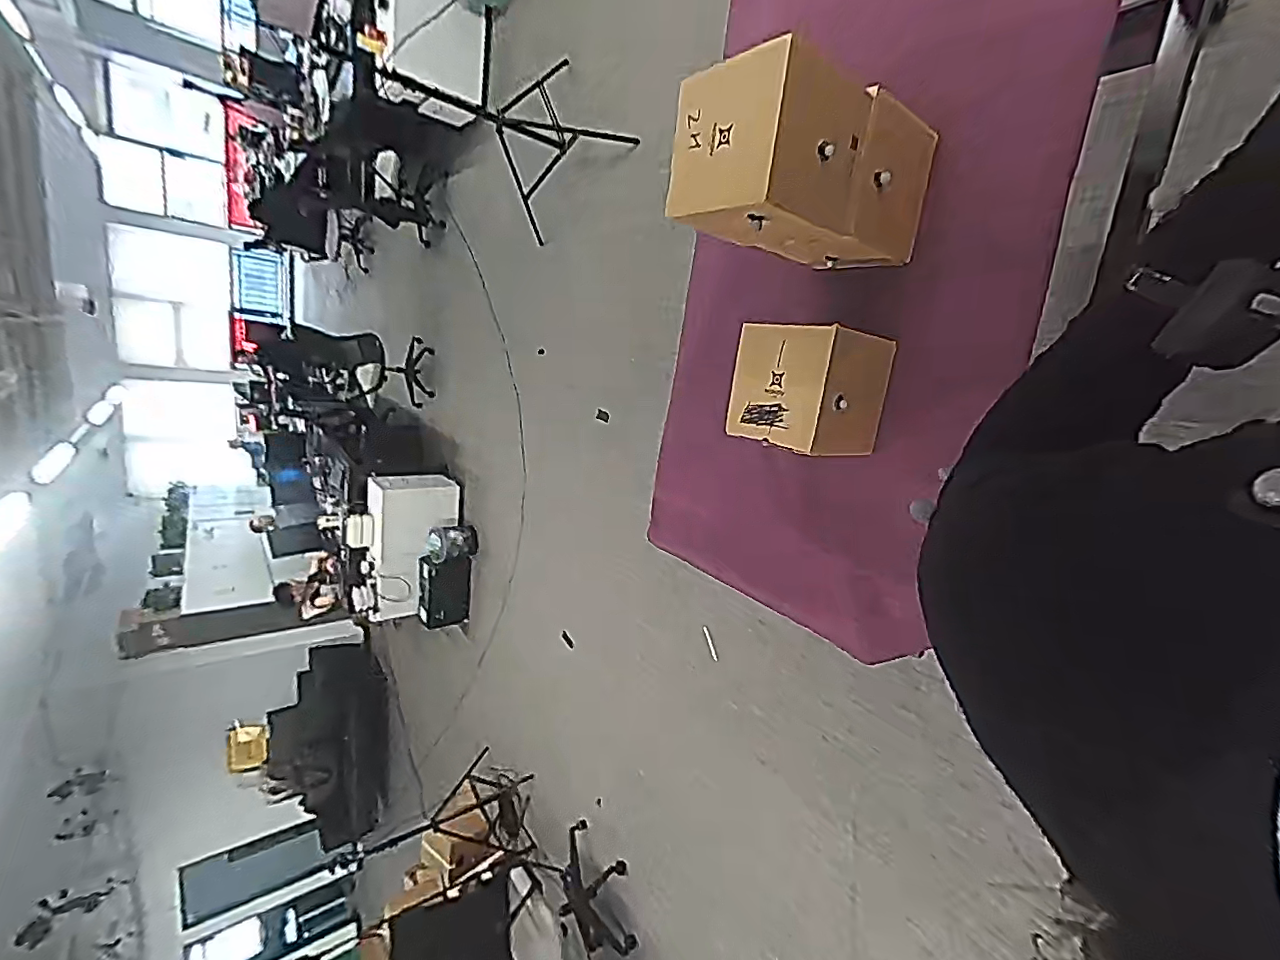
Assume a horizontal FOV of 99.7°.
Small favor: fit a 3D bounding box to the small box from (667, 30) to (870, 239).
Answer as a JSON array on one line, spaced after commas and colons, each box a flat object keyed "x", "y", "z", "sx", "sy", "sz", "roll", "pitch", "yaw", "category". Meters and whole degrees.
[{"x": 0.161, "y": -0.415, "z": 0.687, "sx": 0.179, "sy": 0.176, "sz": 0.168, "roll": 23, "pitch": 111, "yaw": 49, "category": "small box"}]

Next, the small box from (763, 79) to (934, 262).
[{"x": 0.296, "y": -0.427, "z": 0.781, "sx": 0.168, "sy": 0.176, "sz": 0.179, "roll": 23, "pitch": 111, "yaw": 49, "category": "small box"}]

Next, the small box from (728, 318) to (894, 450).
[{"x": 0.264, "y": -0.148, "z": 0.837, "sx": 0.168, "sy": 0.176, "sz": 0.179, "roll": 22, "pitch": 109, "yaw": 49, "category": "small box"}]
